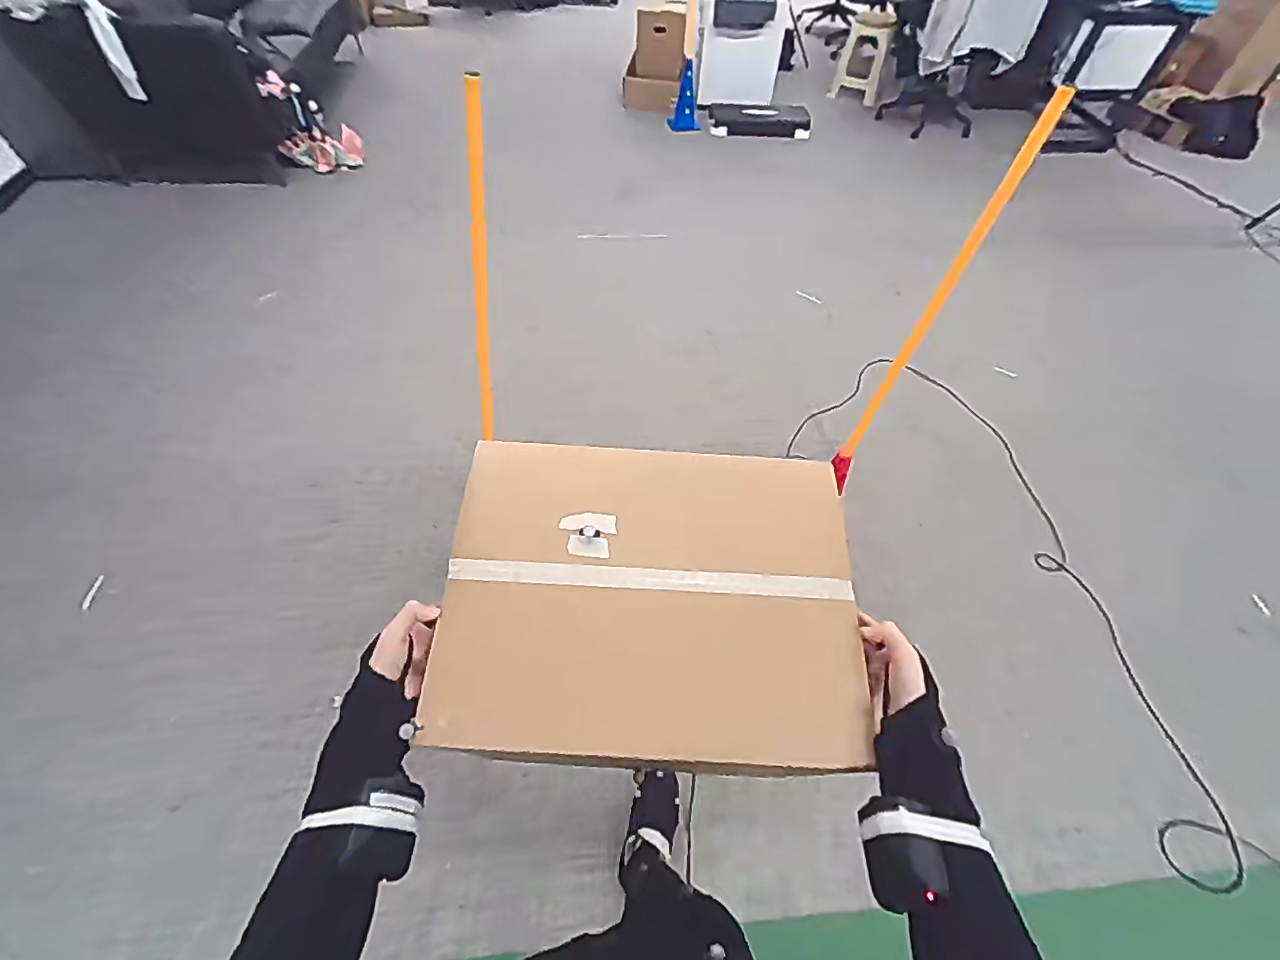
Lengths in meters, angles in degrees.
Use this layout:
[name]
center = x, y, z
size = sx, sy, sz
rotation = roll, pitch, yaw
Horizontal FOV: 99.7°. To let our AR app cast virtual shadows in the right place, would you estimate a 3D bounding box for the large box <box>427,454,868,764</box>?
[large box]
center = 0.010, 0.181, 0.683
size = 0.408, 0.320, 0.320
rotation = 3, 60, 0
